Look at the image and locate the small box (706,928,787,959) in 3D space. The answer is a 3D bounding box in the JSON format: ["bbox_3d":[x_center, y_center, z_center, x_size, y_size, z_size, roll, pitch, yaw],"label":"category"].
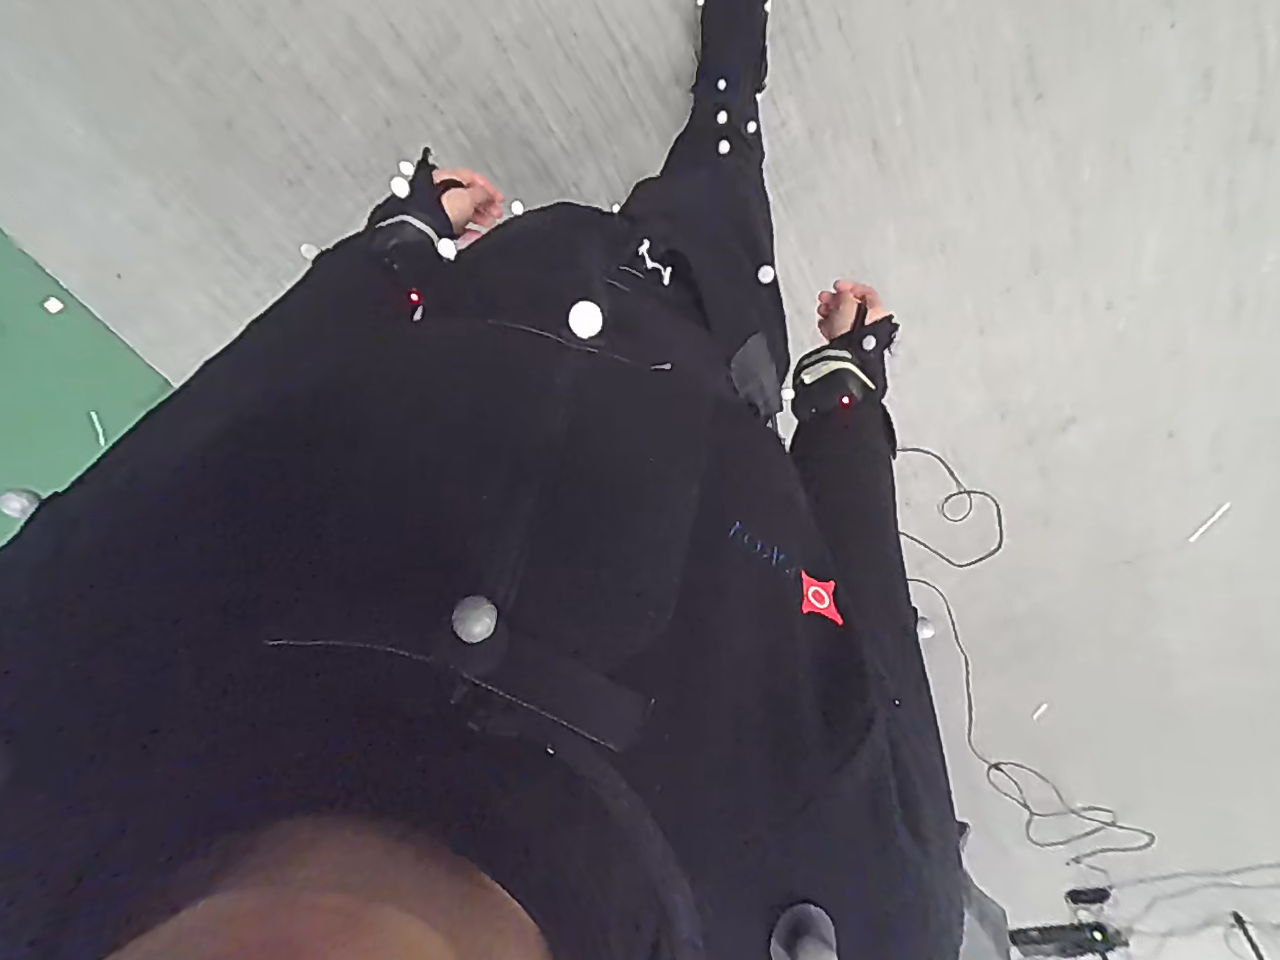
[{"bbox_3d":[0.277,1.269,1.378,0.168,0.176,0.179,-24,120,20],"label":"small box"}]
